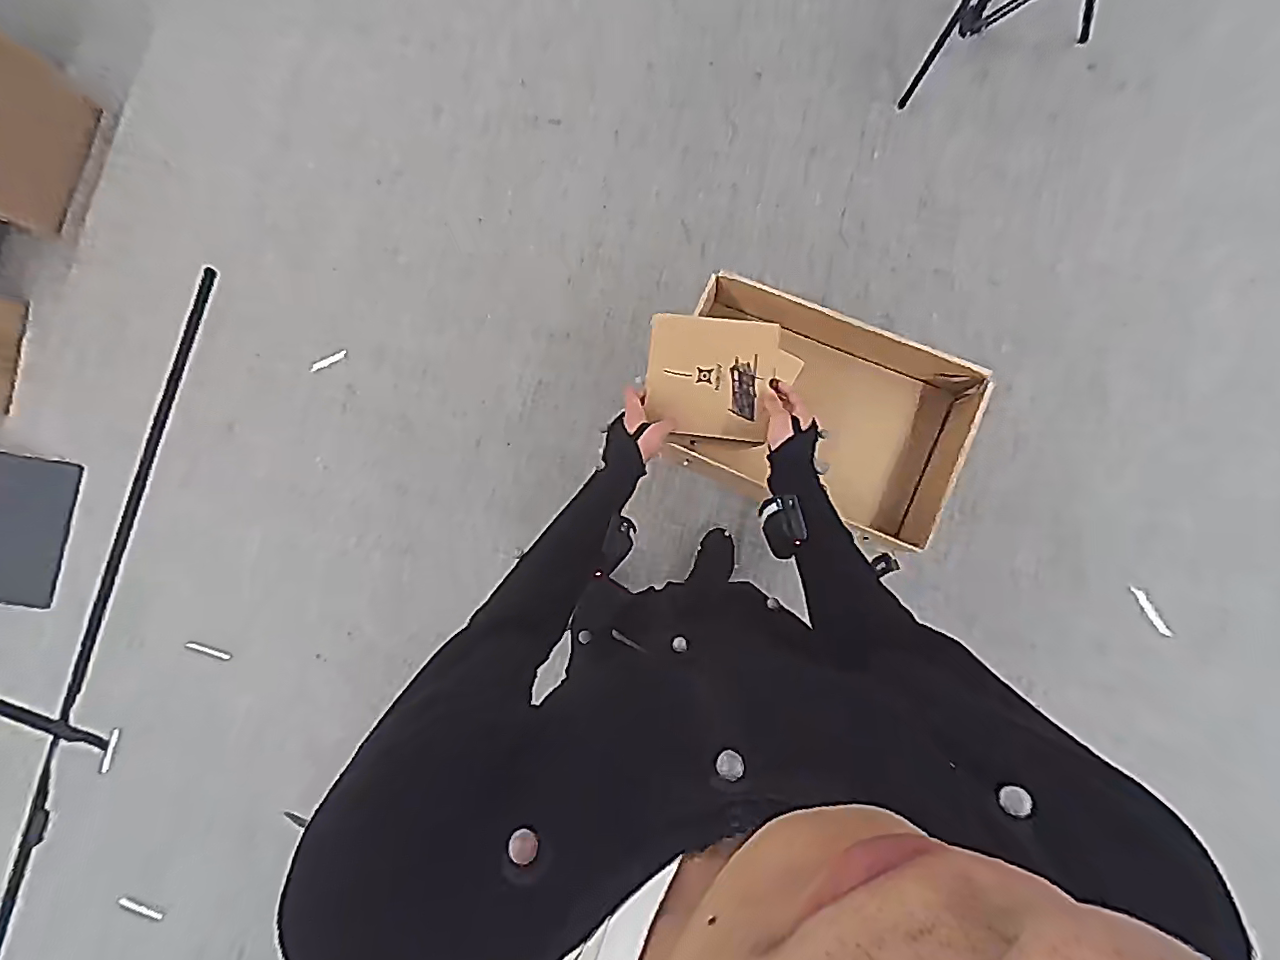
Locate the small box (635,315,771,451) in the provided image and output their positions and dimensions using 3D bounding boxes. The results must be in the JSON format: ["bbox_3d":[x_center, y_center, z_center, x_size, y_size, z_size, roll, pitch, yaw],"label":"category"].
[{"bbox_3d":[0.087,-0.137,0.825,0.179,0.176,0.168,6,89,0],"label":"small box"}]
